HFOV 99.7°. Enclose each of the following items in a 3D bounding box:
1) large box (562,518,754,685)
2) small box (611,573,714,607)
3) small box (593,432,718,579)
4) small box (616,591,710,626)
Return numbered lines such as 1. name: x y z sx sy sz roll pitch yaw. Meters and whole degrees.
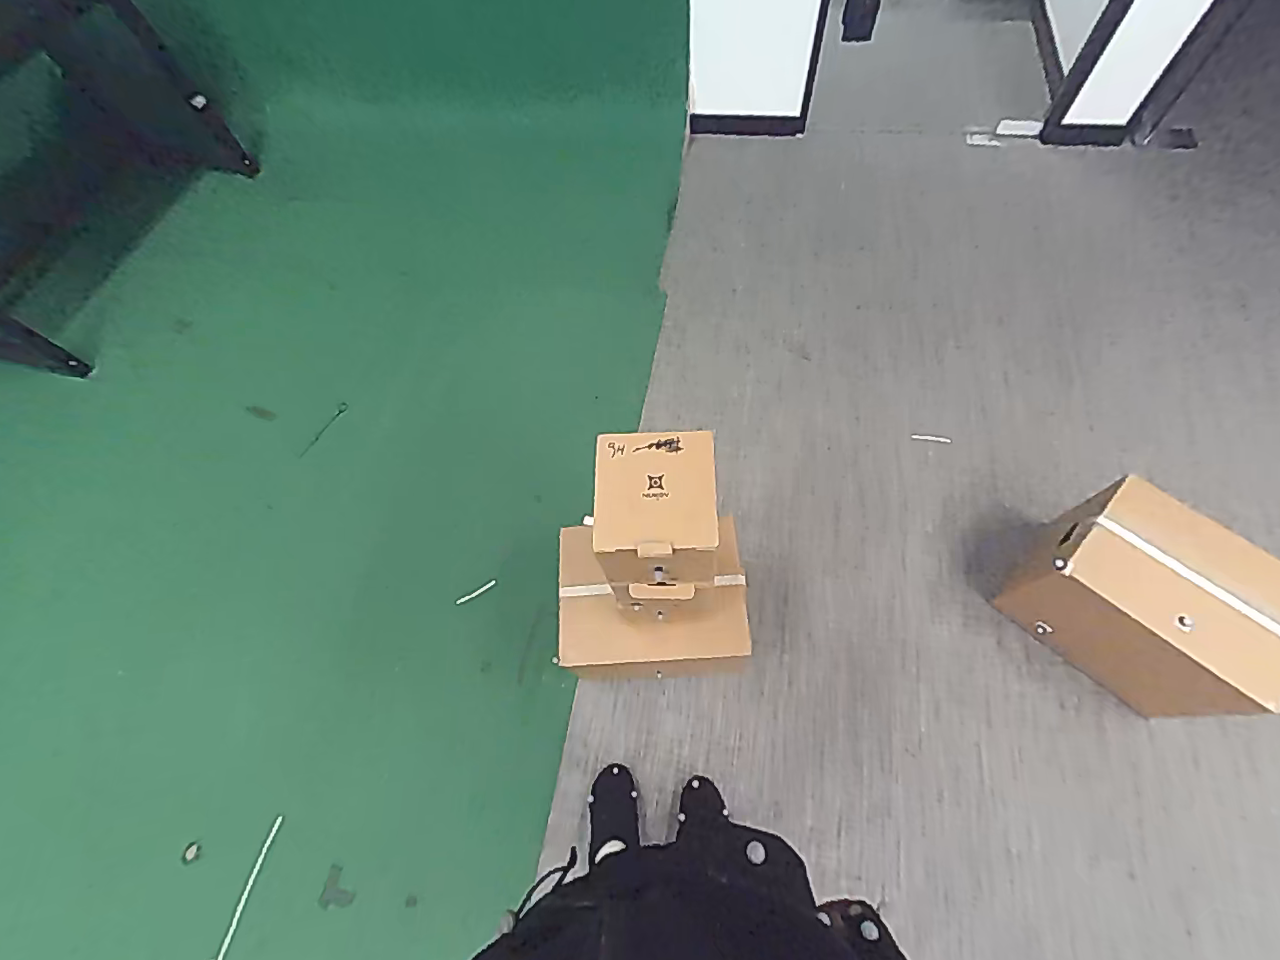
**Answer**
1. large box: 0.044 0.308 1.308 0.408 0.320 0.320 -6 62 4
2. small box: 0.046 0.121 0.943 0.168 0.176 0.179 0 65 5
3. small box: 0.028 0.047 0.797 0.168 0.176 0.179 -1 66 4
4. small box: 0.050 0.196 1.088 0.179 0.176 0.168 -2 65 4
